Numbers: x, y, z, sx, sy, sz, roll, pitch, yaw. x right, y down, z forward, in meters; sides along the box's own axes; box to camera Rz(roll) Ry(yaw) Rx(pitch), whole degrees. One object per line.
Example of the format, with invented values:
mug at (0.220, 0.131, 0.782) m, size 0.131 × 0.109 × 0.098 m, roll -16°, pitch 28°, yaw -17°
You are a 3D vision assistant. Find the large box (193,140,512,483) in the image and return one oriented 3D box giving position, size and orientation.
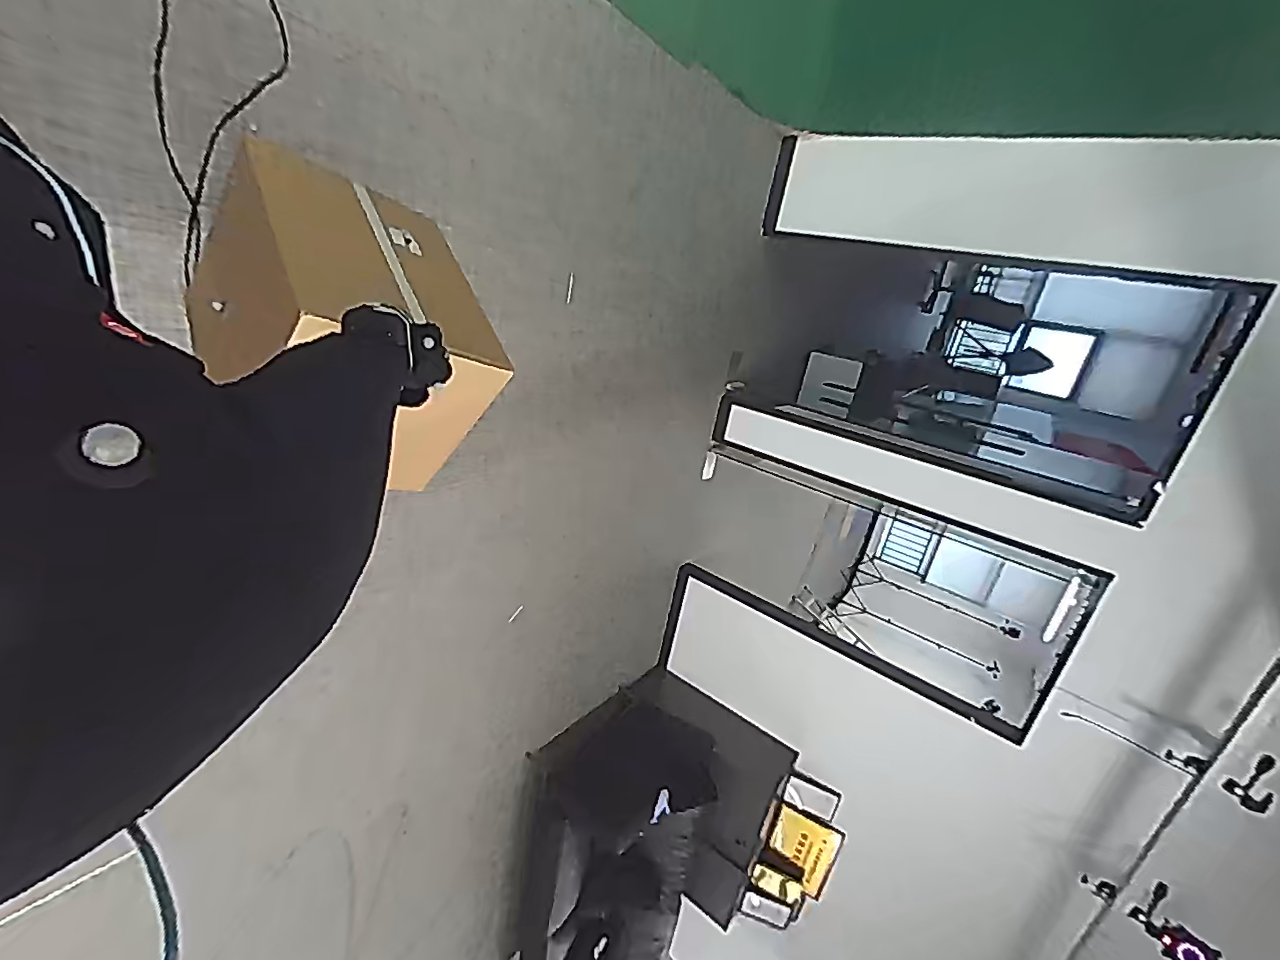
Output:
large box at (-0.484, -0.242, 0.893) m, size 0.320 × 0.408 × 0.320 m, roll -44°, pitch 153°, yaw 25°
